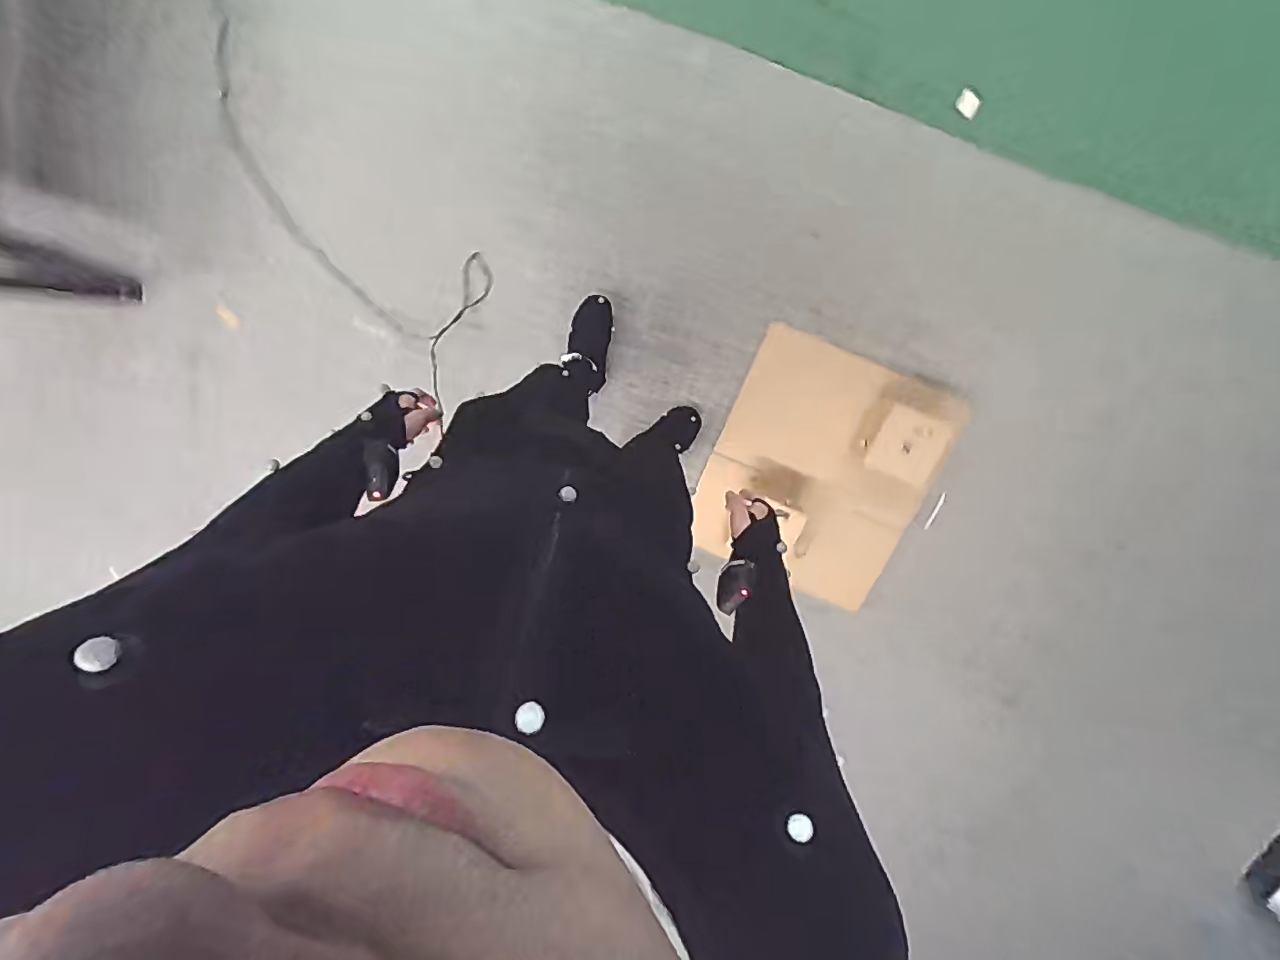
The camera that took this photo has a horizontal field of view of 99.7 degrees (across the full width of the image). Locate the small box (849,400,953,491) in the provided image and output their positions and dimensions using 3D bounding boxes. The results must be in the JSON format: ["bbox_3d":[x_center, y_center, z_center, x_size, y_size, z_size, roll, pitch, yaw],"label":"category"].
[{"bbox_3d":[0.680,-0.098,1.438,0.168,0.176,0.179,25,105,0],"label":"small box"}]

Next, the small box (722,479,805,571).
[{"bbox_3d":[0.344,0.122,1.538,0.168,0.176,0.179,26,106,-1],"label":"small box"}]
